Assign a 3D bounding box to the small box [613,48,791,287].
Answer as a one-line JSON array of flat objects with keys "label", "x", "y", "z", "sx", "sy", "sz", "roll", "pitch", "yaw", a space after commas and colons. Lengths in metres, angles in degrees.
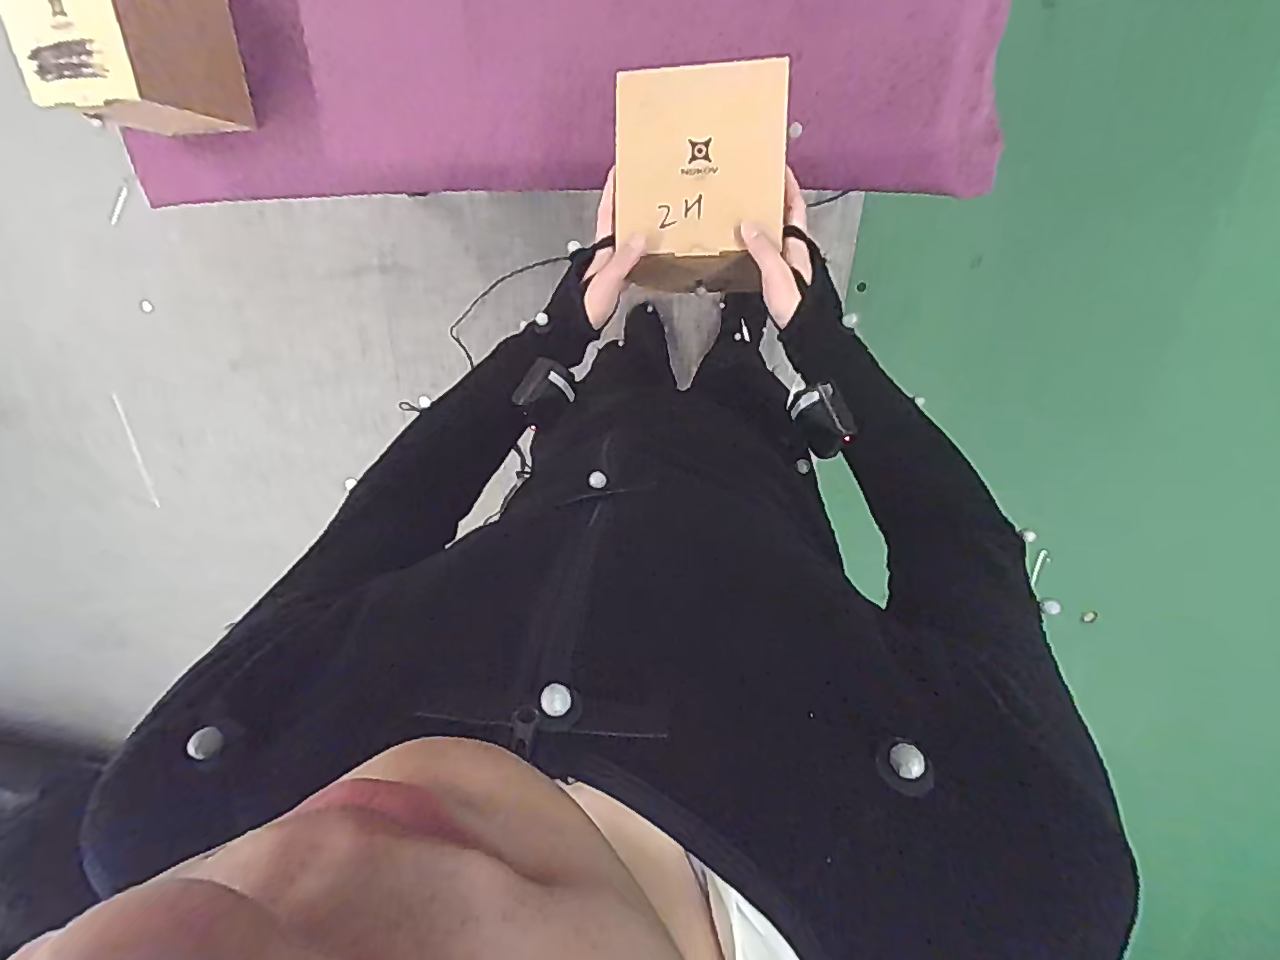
[{"label": "small box", "x": 0.069, "y": -0.323, "z": 0.596, "sx": 0.168, "sy": 0.176, "sz": 0.179, "roll": 2, "pitch": 97, "yaw": 10}]
